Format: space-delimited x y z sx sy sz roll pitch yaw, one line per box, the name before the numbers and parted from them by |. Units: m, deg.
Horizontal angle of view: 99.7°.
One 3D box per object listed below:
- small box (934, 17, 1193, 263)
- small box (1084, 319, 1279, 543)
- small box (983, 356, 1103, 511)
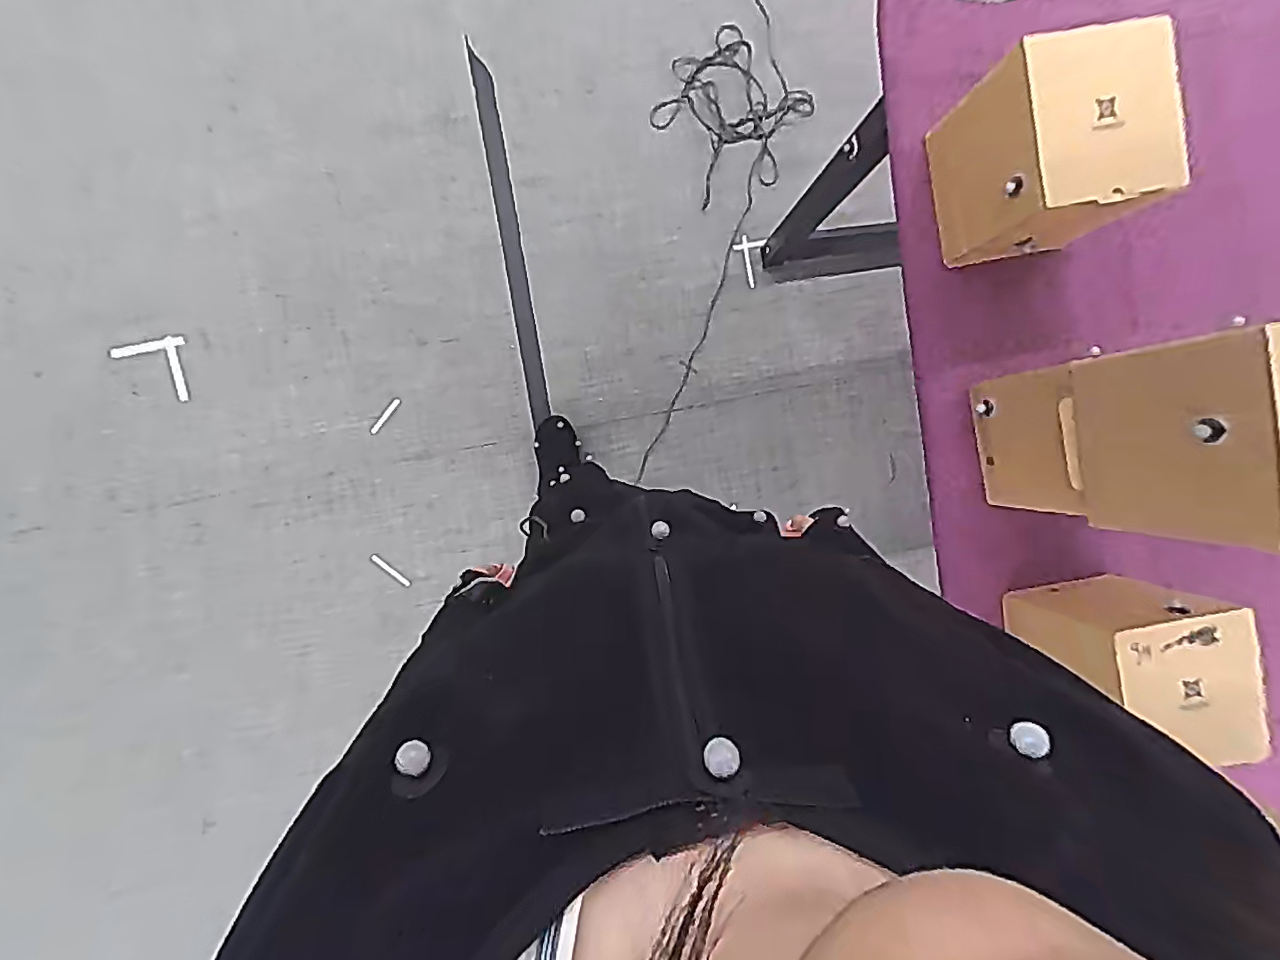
small box | 0.475 -0.380 0.633 0.168 0.176 0.179 -11 94 -4
small box | 0.550 -0.048 0.489 0.168 0.176 0.179 -10 94 -4
small box | 0.550 -0.064 0.654 0.179 0.176 0.168 -12 94 -5
